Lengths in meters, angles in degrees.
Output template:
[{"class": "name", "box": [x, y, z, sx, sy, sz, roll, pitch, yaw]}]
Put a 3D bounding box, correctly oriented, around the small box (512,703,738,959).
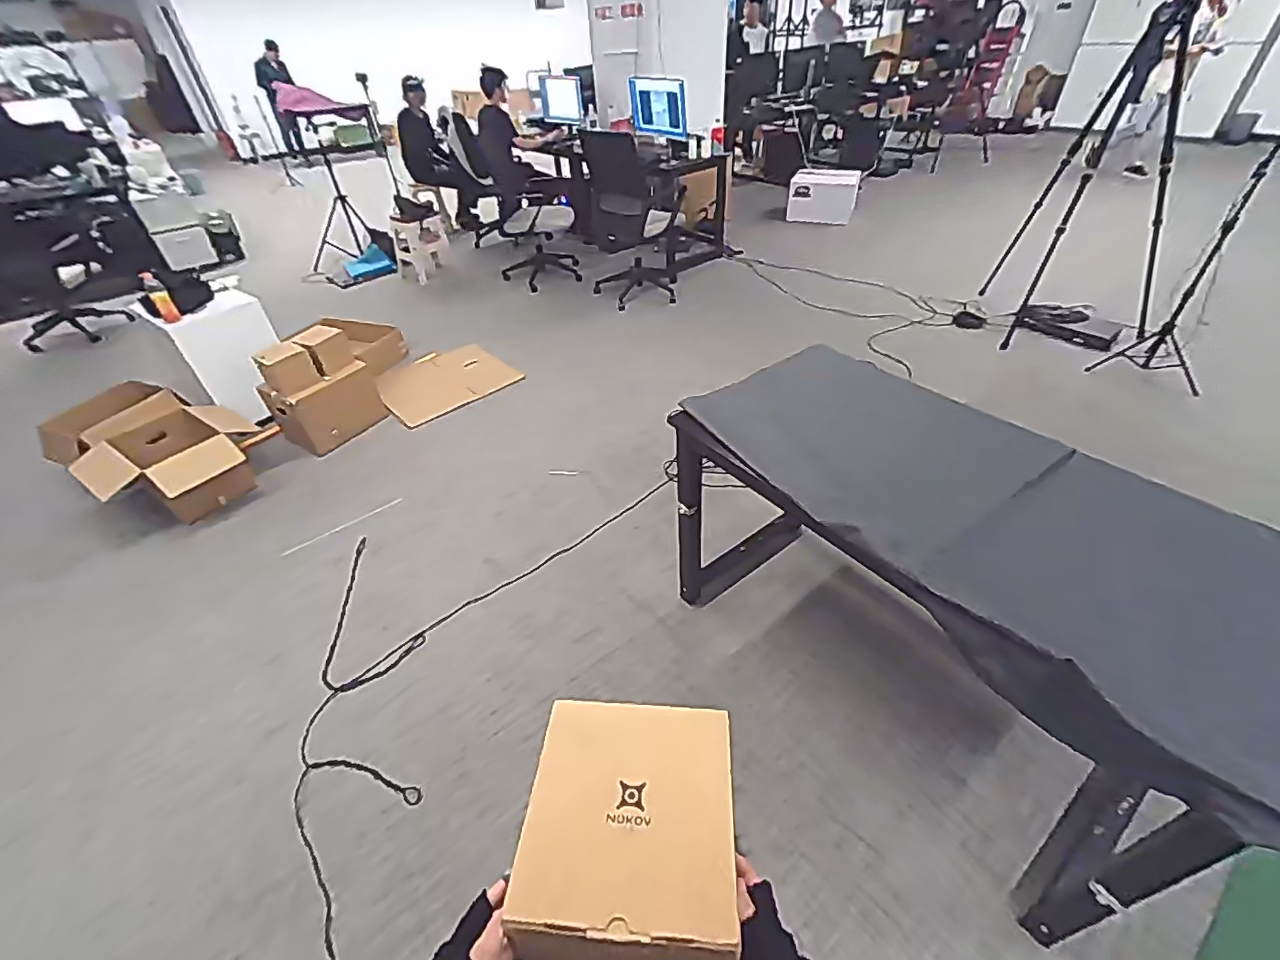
[{"class": "small box", "box": [-0.004, 0.335, 0.493, 0.168, 0.176, 0.179, 2, 35, 5]}]
